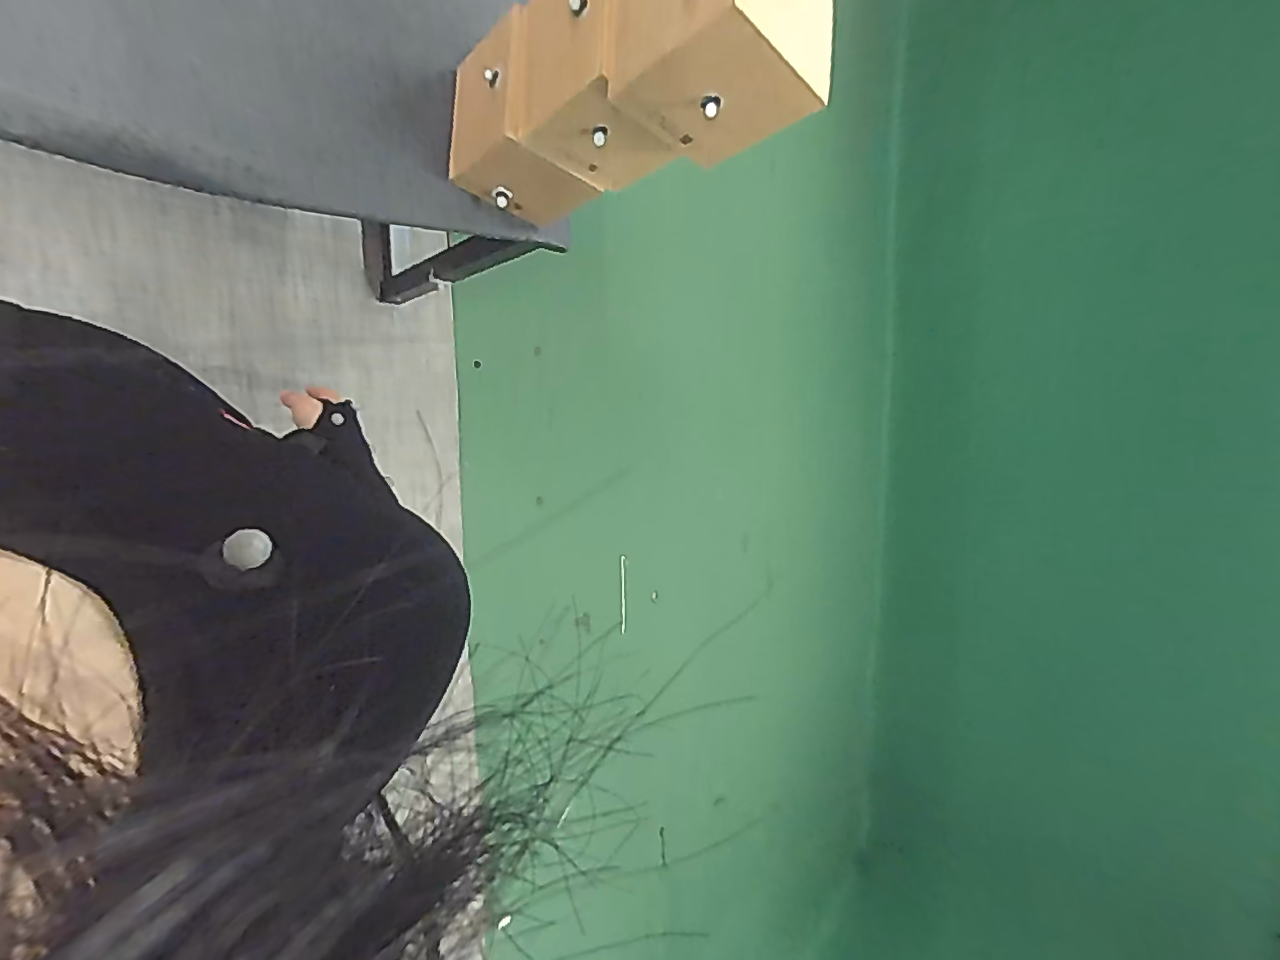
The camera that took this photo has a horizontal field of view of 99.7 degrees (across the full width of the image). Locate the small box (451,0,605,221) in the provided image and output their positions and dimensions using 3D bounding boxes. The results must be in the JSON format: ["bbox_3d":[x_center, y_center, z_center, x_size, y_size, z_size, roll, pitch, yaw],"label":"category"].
[{"bbox_3d":[-0.158,-0.513,0.783,0.168,0.176,0.179,6,88,-43],"label":"small box"}]

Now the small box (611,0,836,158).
[{"bbox_3d":[0.085,-0.481,0.565,0.168,0.176,0.179,4,88,-44],"label":"small box"}]

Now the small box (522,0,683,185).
[{"bbox_3d":[-0.035,-0.509,0.677,0.168,0.176,0.179,3,89,-44],"label":"small box"}]
